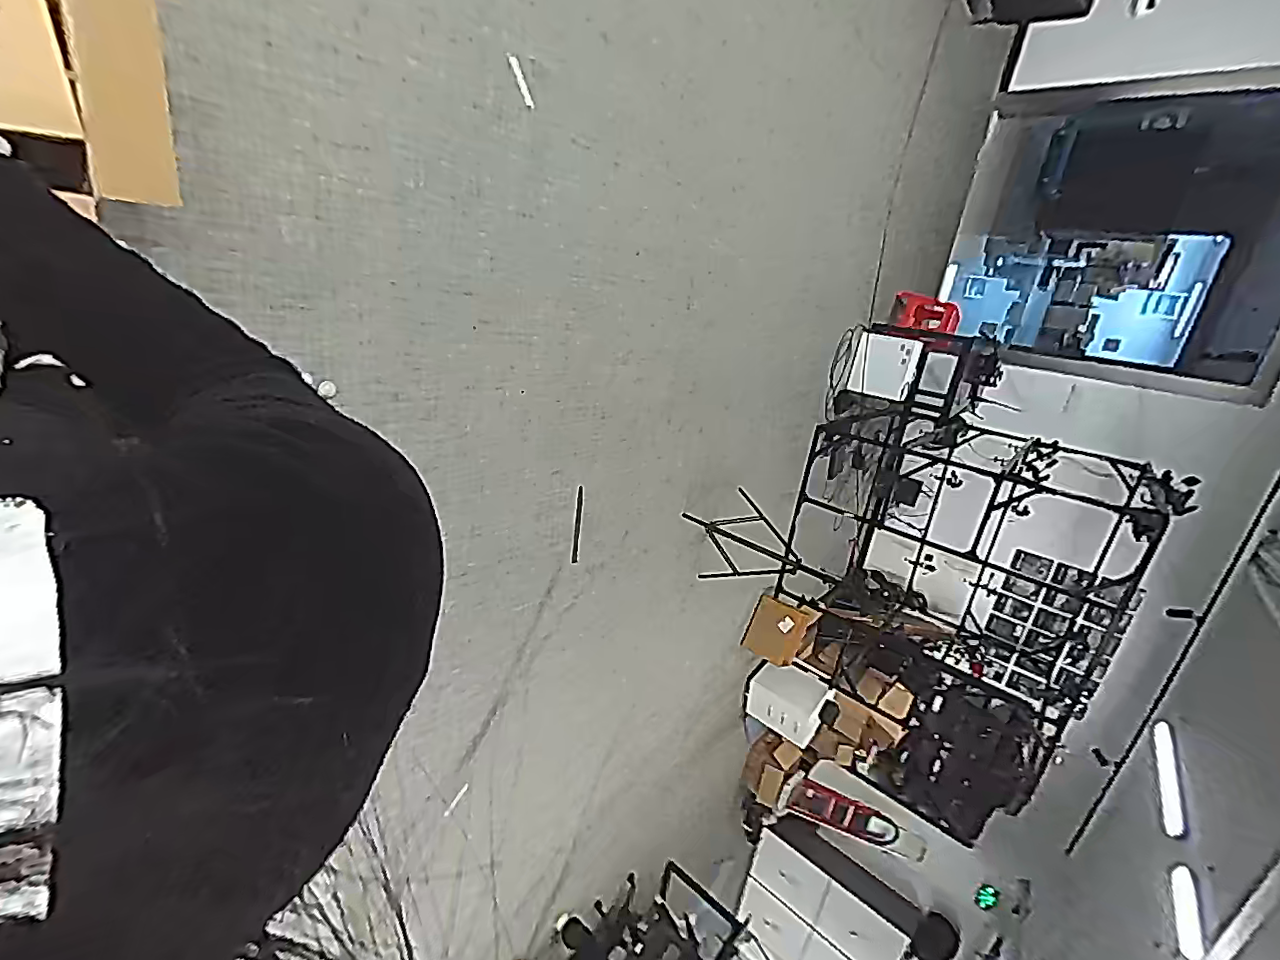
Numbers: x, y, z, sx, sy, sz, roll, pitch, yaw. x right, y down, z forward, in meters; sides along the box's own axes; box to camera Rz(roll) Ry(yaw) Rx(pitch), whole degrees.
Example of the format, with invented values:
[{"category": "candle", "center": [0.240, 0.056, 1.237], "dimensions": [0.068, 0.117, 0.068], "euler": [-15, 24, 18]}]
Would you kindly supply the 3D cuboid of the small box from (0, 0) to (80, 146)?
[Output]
[{"category": "small box", "center": [-0.852, -0.528, 0.671], "dimensions": [0.168, 0.176, 0.179], "euler": [-26, 128, -48]}]
